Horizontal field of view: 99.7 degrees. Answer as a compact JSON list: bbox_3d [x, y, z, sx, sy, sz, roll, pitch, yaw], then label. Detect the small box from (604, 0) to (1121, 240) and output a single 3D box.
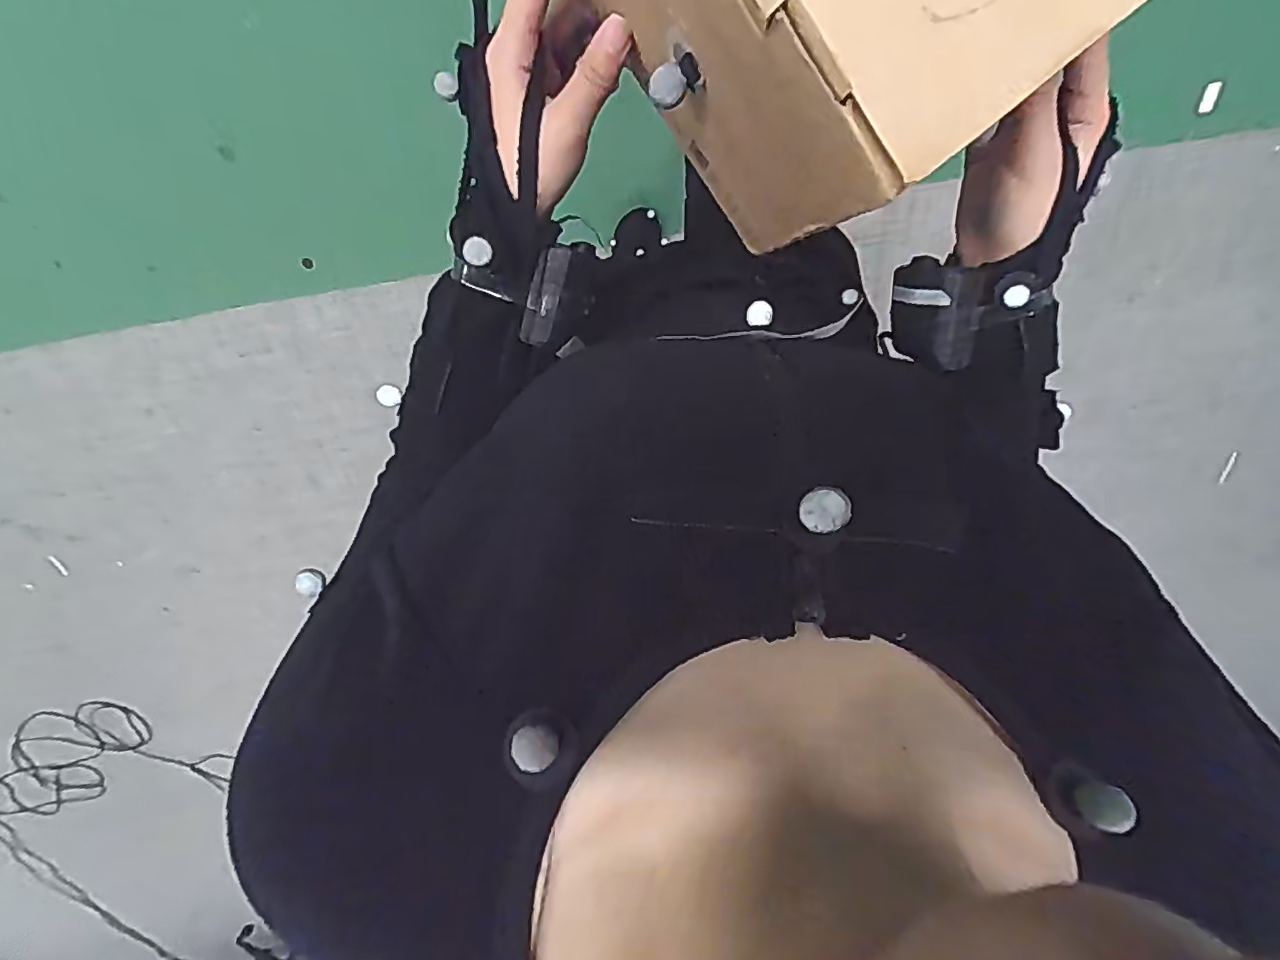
[{"bbox_3d":[0.086,-0.217,0.201,0.179,0.176,0.168,-37,104,9],"label":"small box"}]
